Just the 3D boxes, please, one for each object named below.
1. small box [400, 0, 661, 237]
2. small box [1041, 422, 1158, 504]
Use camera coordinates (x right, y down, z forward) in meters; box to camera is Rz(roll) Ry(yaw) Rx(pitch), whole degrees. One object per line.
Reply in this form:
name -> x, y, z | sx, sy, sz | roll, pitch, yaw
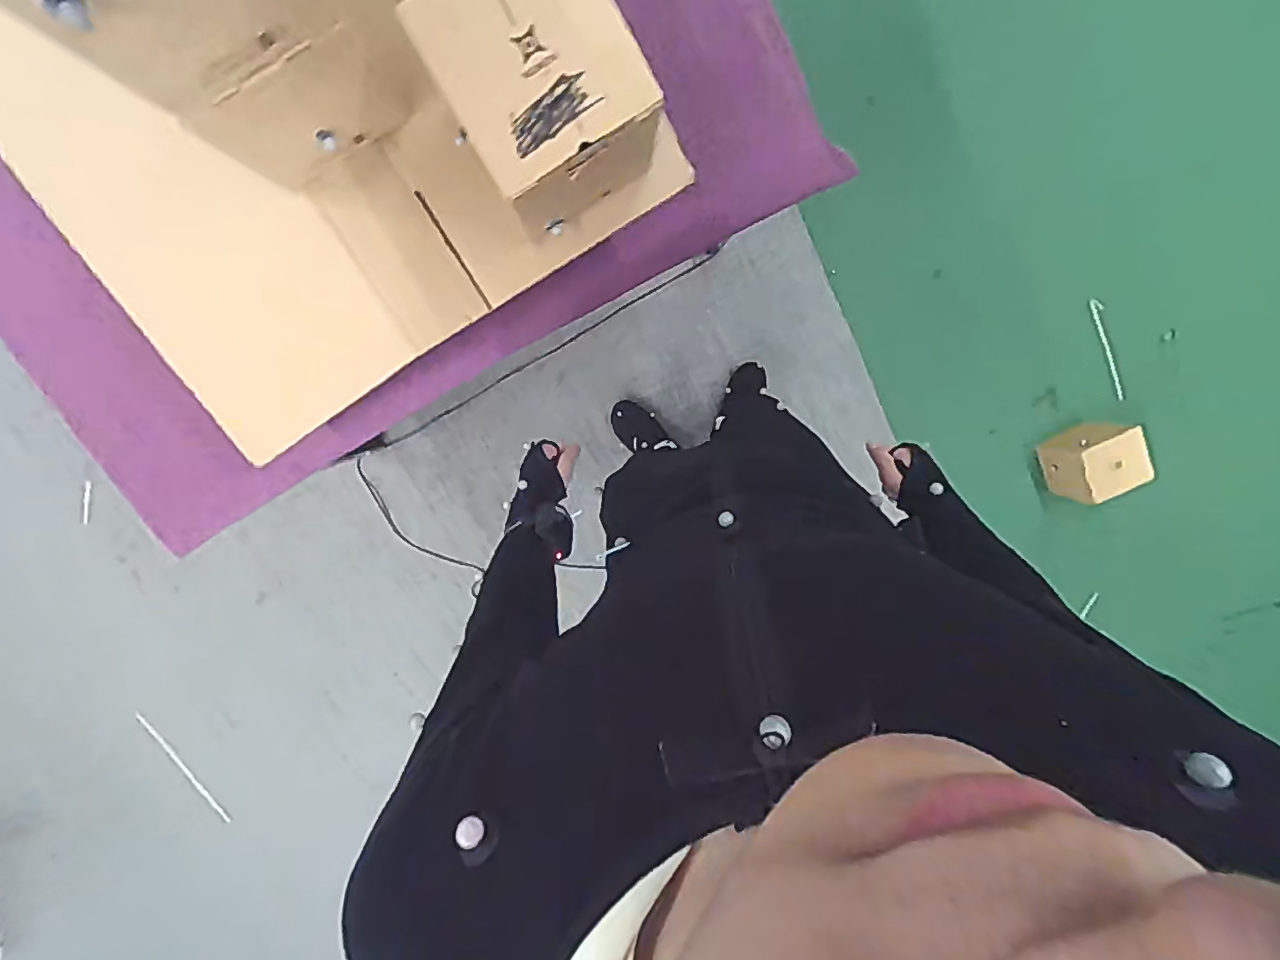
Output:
small box -> -0.095, -0.371, 0.545 | 0.168, 0.176, 0.179 | -31, 100, 2
small box -> 1.318, -0.056, 1.559 | 0.179, 0.176, 0.168 | -26, 101, 4
